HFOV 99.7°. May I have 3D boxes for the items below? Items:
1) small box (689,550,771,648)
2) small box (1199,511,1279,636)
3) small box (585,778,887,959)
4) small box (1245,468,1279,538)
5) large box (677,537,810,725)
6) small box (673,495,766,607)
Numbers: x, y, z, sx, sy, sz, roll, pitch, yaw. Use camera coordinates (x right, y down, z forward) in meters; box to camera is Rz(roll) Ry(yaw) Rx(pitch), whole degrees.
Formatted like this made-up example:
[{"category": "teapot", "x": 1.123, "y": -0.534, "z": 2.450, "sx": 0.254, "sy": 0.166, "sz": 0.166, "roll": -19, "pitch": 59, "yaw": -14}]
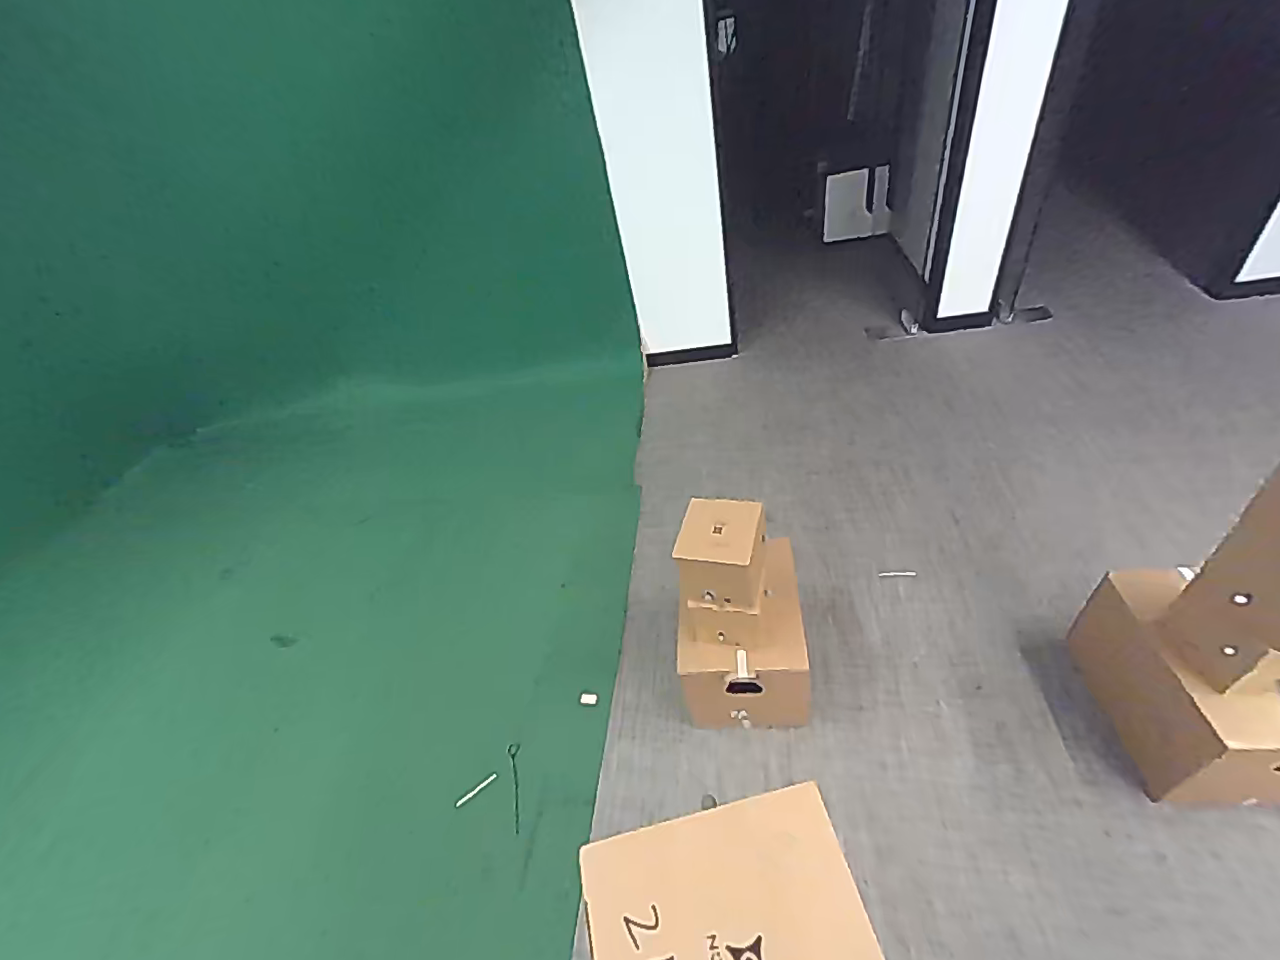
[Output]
[{"category": "small box", "x": 0.225, "y": 0.281, "z": 1.315, "sx": 0.168, "sy": 0.176, "sz": 0.179, "roll": 1, "pitch": 45, "yaw": 19}, {"category": "small box", "x": 1.155, "y": 0.156, "z": 0.936, "sx": 0.168, "sy": 0.176, "sz": 0.179, "roll": -12, "pitch": 43, "yaw": 5}, {"category": "small box", "x": 0.070, "y": 0.343, "z": 0.396, "sx": 0.179, "sy": 0.176, "sz": 0.168, "roll": -15, "pitch": 49, "yaw": -2}, {"category": "small box", "x": 1.119, "y": 0.036, "z": 0.827, "sx": 0.168, "sy": 0.176, "sz": 0.179, "roll": -13, "pitch": 42, "yaw": 5}, {"category": "large box", "x": 0.285, "y": 0.420, "z": 1.513, "sx": 0.320, "sy": 0.320, "sz": 0.408, "roll": -6, "pitch": 42, "yaw": 11}, {"category": "small box", "x": 0.187, "y": 0.158, "z": 1.215, "sx": 0.168, "sy": 0.176, "sz": 0.179, "roll": 4, "pitch": 46, "yaw": 22}]
